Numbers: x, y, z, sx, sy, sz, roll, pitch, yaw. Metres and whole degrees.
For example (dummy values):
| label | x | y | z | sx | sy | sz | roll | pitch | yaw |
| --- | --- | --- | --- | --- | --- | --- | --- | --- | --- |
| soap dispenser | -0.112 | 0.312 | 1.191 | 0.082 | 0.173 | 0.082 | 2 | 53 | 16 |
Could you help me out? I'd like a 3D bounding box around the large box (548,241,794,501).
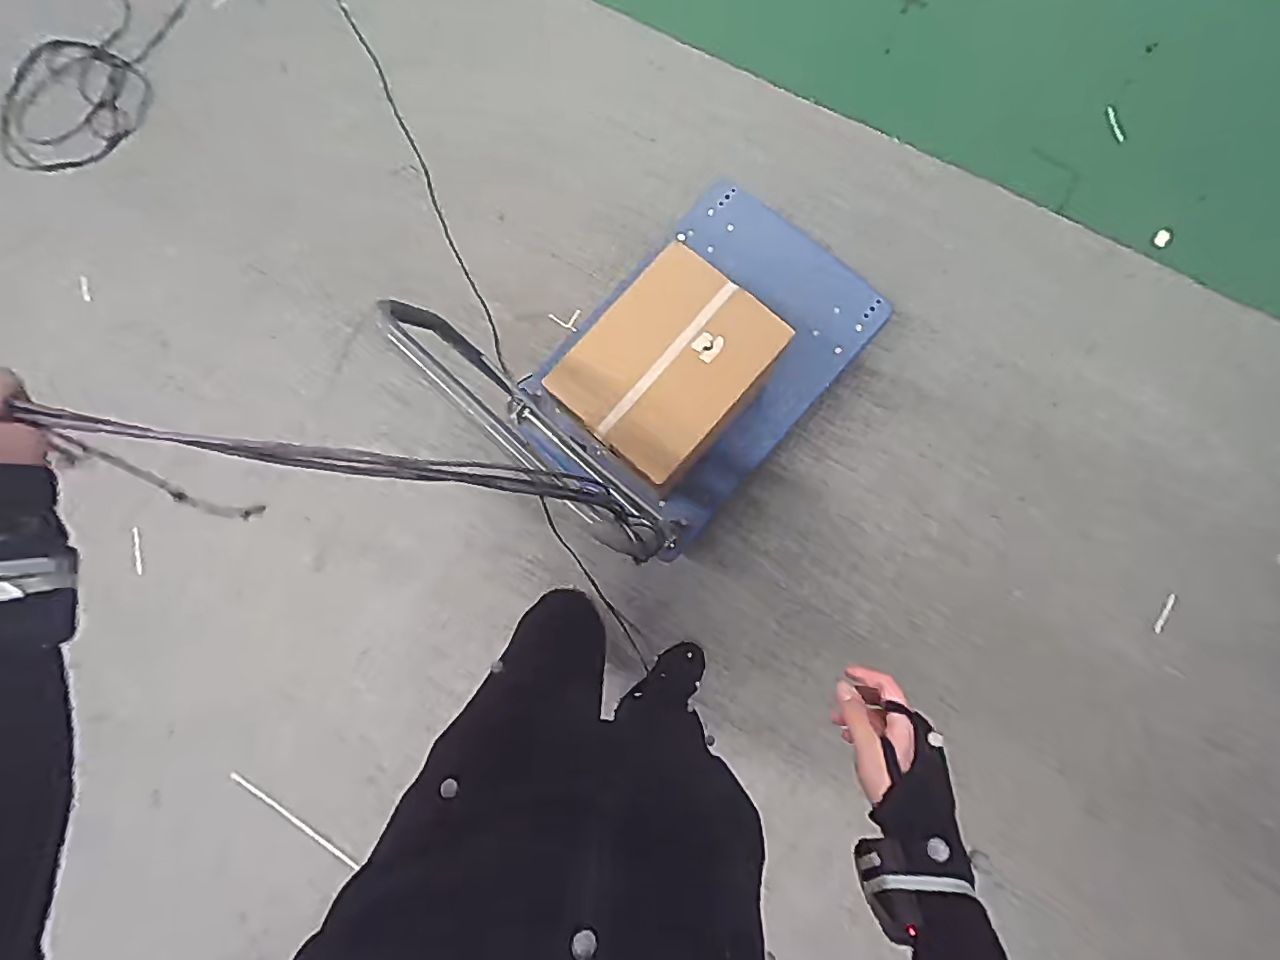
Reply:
| label | x | y | z | sx | sy | sz | roll | pitch | yaw |
| --- | --- | --- | --- | --- | --- | --- | --- | --- | --- |
| large box | 0.065 | -0.212 | 1.193 | 0.320 | 0.320 | 0.408 | 41 | 85 | 7 |
